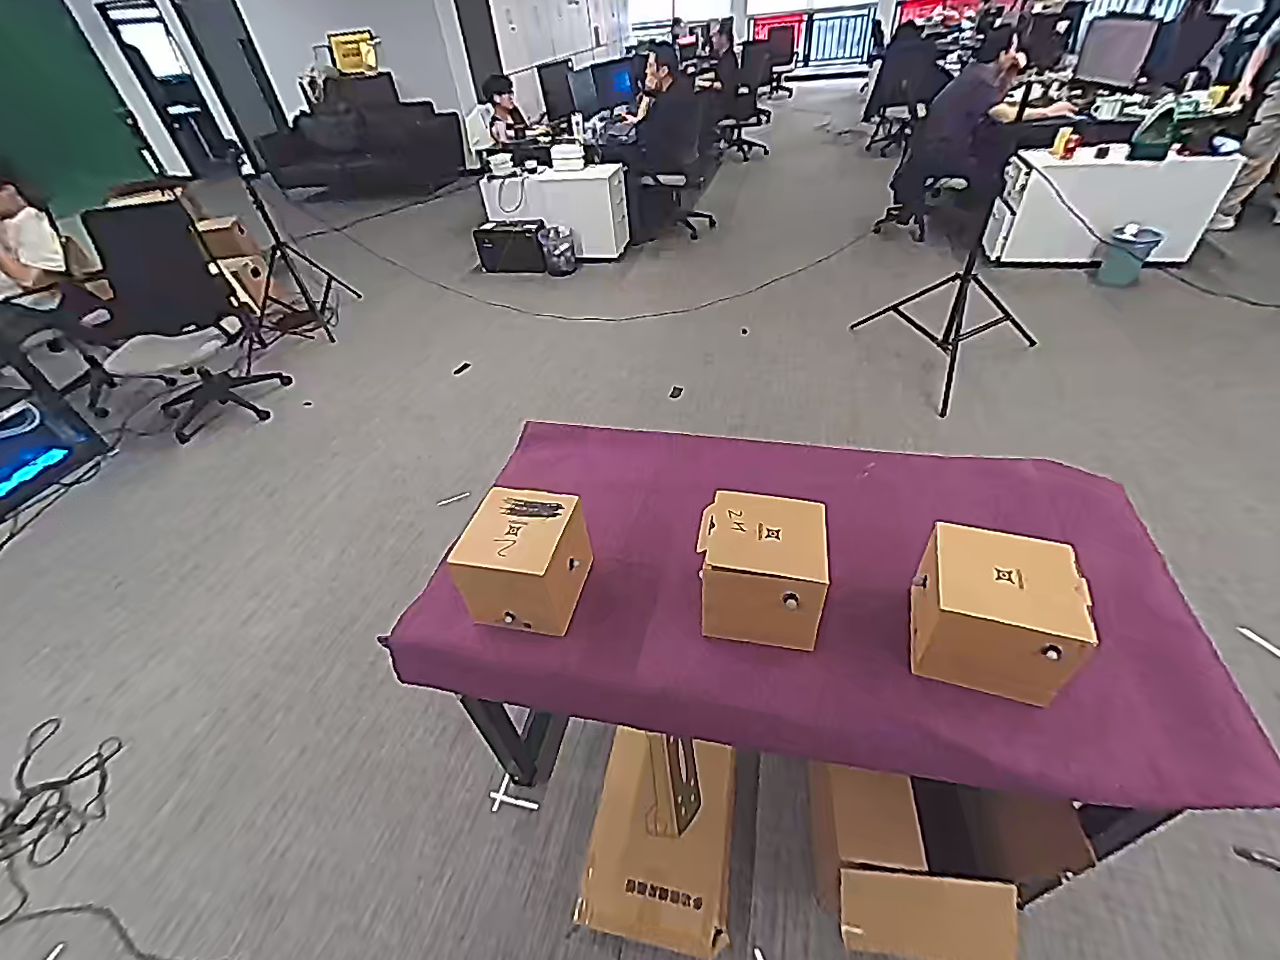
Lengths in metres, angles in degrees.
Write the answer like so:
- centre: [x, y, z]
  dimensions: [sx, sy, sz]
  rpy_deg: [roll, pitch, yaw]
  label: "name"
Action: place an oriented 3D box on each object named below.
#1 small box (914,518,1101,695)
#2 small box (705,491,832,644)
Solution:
- centre: [0.505, 0.182, 0.778]
  dimensions: [0.179, 0.176, 0.168]
  rpy_deg: [10, 44, 18]
  label: "small box"
- centre: [0.201, 0.139, 0.863]
  dimensions: [0.179, 0.176, 0.168]
  rpy_deg: [5, 40, 12]
  label: "small box"
